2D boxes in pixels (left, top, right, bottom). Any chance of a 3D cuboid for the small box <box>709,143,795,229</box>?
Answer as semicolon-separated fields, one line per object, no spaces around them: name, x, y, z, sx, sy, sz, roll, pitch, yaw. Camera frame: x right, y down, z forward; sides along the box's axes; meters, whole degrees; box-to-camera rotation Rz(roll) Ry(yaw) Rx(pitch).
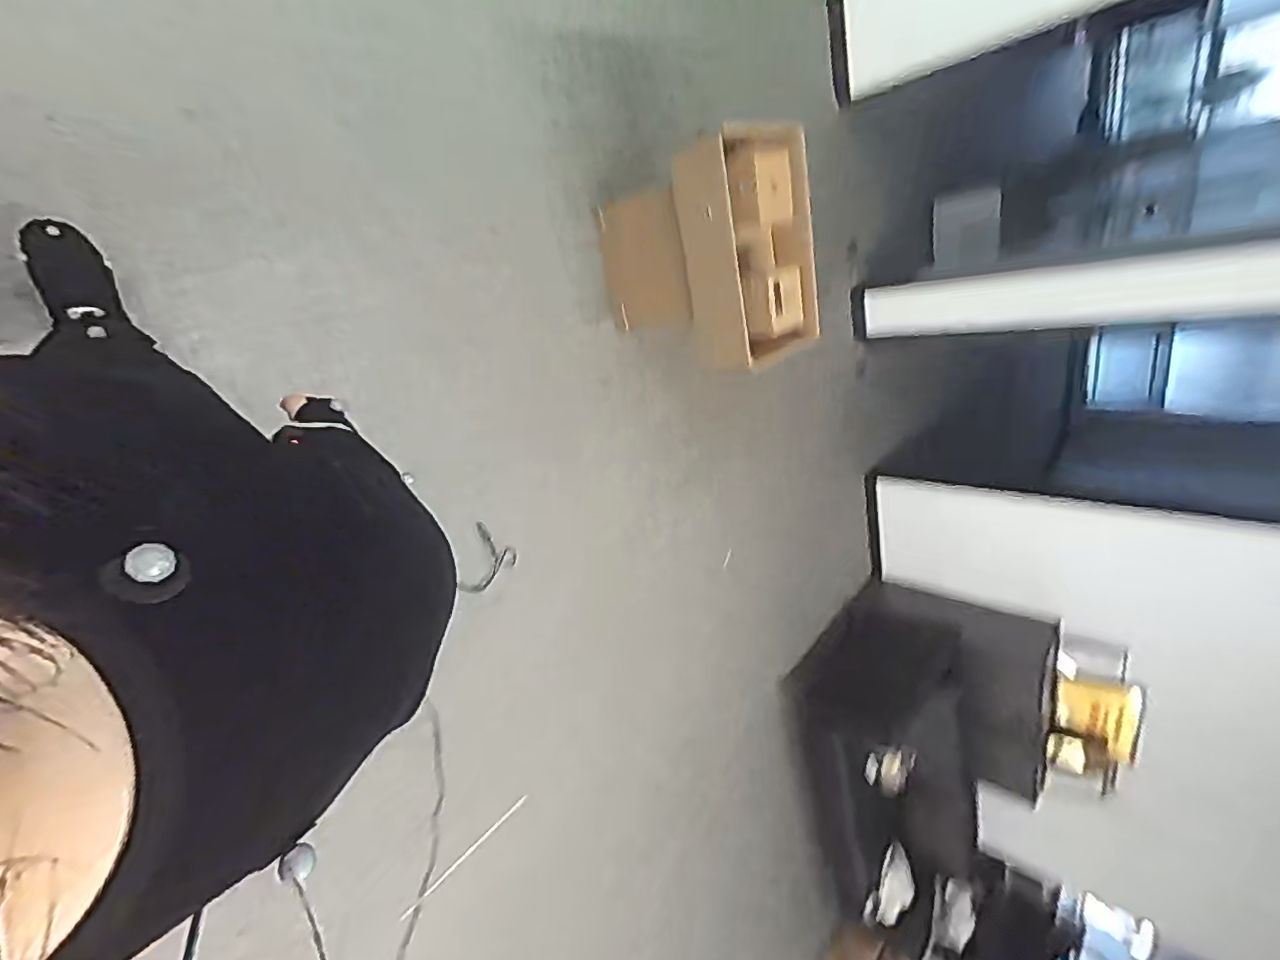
small box;0.307;-0.813;1.501;0.168;0.176;0.179;-29;117;-36
